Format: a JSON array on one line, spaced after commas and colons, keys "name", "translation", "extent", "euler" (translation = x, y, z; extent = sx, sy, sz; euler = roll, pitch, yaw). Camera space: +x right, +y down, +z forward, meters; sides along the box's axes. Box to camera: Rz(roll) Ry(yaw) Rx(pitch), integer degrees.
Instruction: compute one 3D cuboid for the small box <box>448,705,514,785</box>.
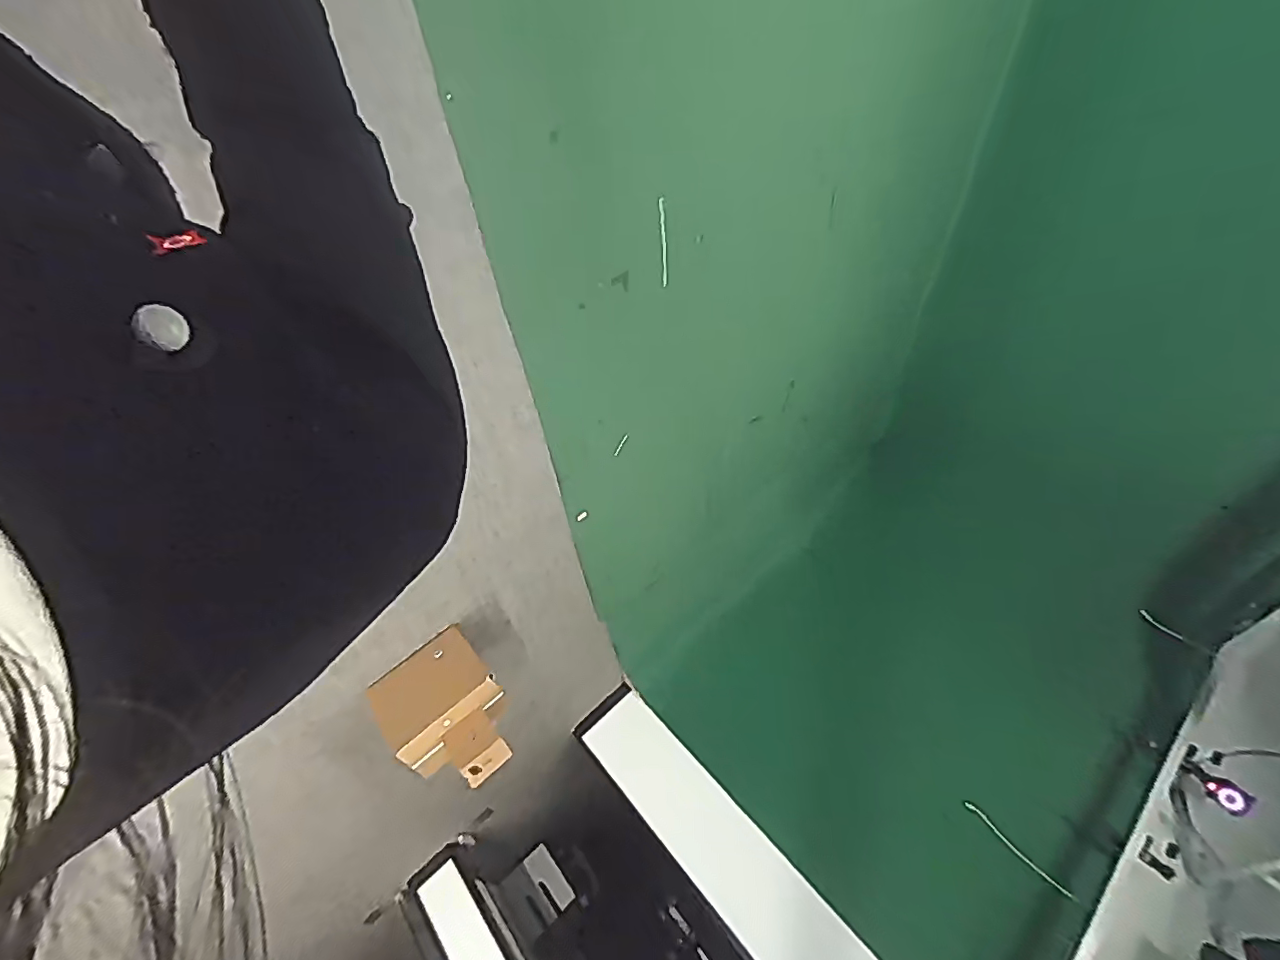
[{"name": "small box", "translation": [-0.613, 1.008, 2.065], "extent": [0.179, 0.176, 0.168], "euler": [-32, 138, -29]}]
